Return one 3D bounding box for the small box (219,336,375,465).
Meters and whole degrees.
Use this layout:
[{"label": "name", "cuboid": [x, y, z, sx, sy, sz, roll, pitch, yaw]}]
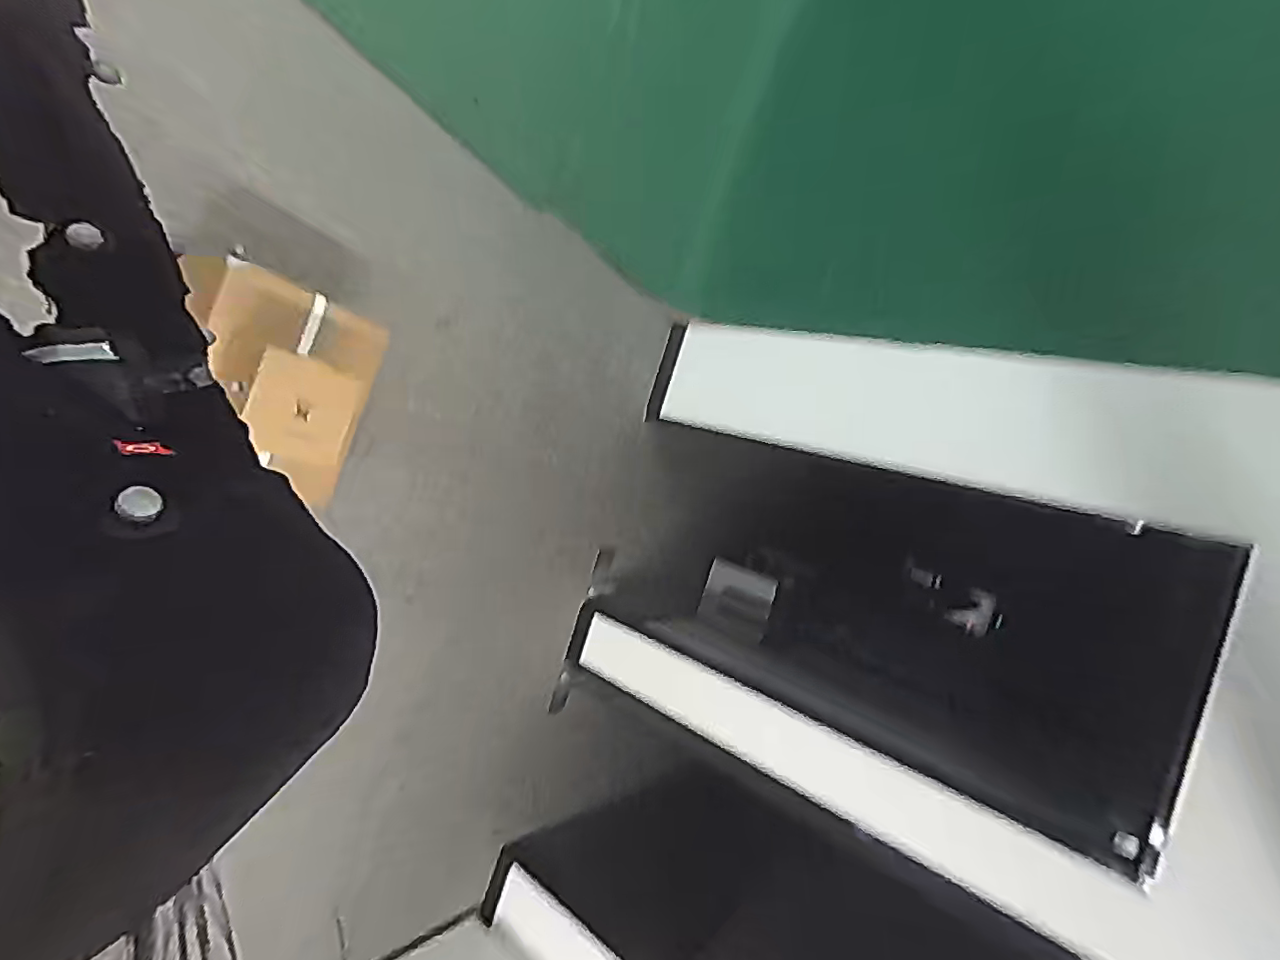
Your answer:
[{"label": "small box", "cuboid": [-0.624, -0.146, 0.981, 0.168, 0.176, 0.179, 20, 89, -54]}]
